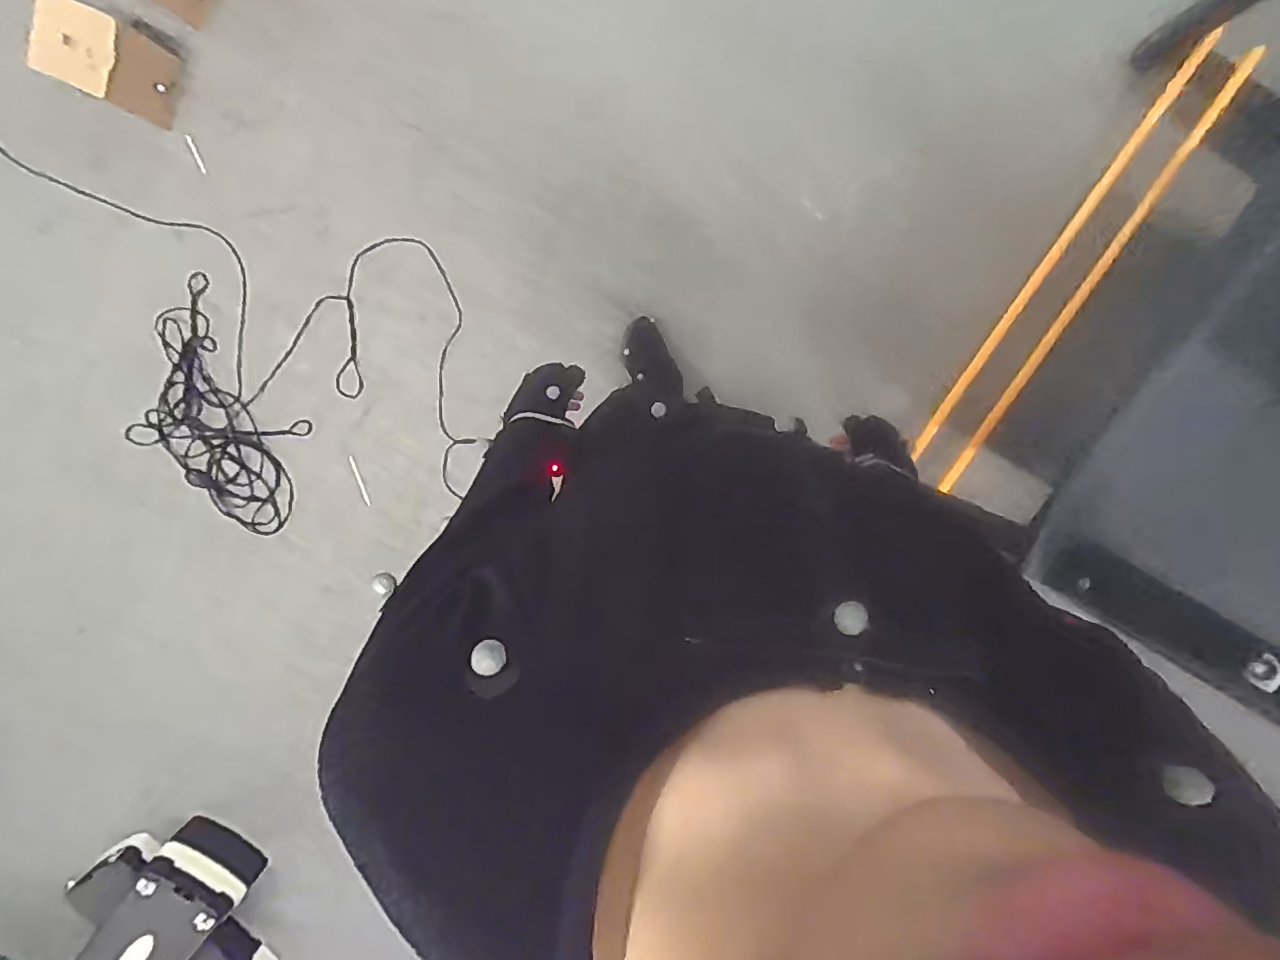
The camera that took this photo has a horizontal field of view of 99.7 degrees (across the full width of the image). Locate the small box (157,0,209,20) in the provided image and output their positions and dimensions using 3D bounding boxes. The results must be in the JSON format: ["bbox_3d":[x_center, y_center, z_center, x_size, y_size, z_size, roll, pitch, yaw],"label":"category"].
[{"bbox_3d":[-1.076,-1.167,1.176,0.179,0.176,0.168,31,101,-6],"label":"small box"}]

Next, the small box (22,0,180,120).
[{"bbox_3d":[-1.208,-0.957,1.221,0.179,0.176,0.168,23,103,-4],"label":"small box"}]
